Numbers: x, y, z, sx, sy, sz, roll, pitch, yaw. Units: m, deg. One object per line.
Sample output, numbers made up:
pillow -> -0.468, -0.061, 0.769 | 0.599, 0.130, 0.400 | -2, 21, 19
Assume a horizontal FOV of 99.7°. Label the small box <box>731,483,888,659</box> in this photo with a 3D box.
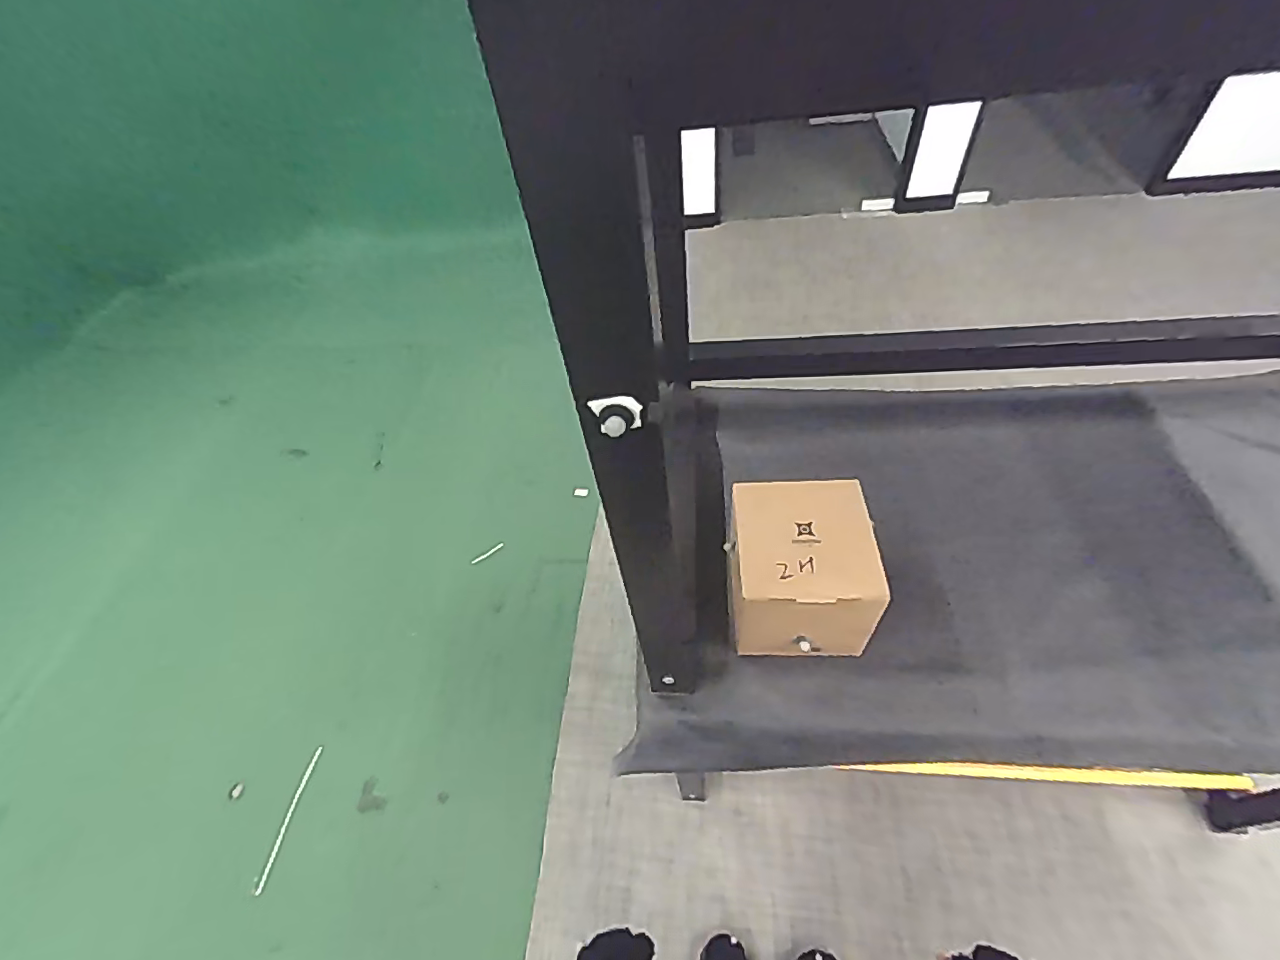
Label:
small box -> 0.211, 0.123, 0.729 | 0.168, 0.176, 0.179 | -2, 50, 7
